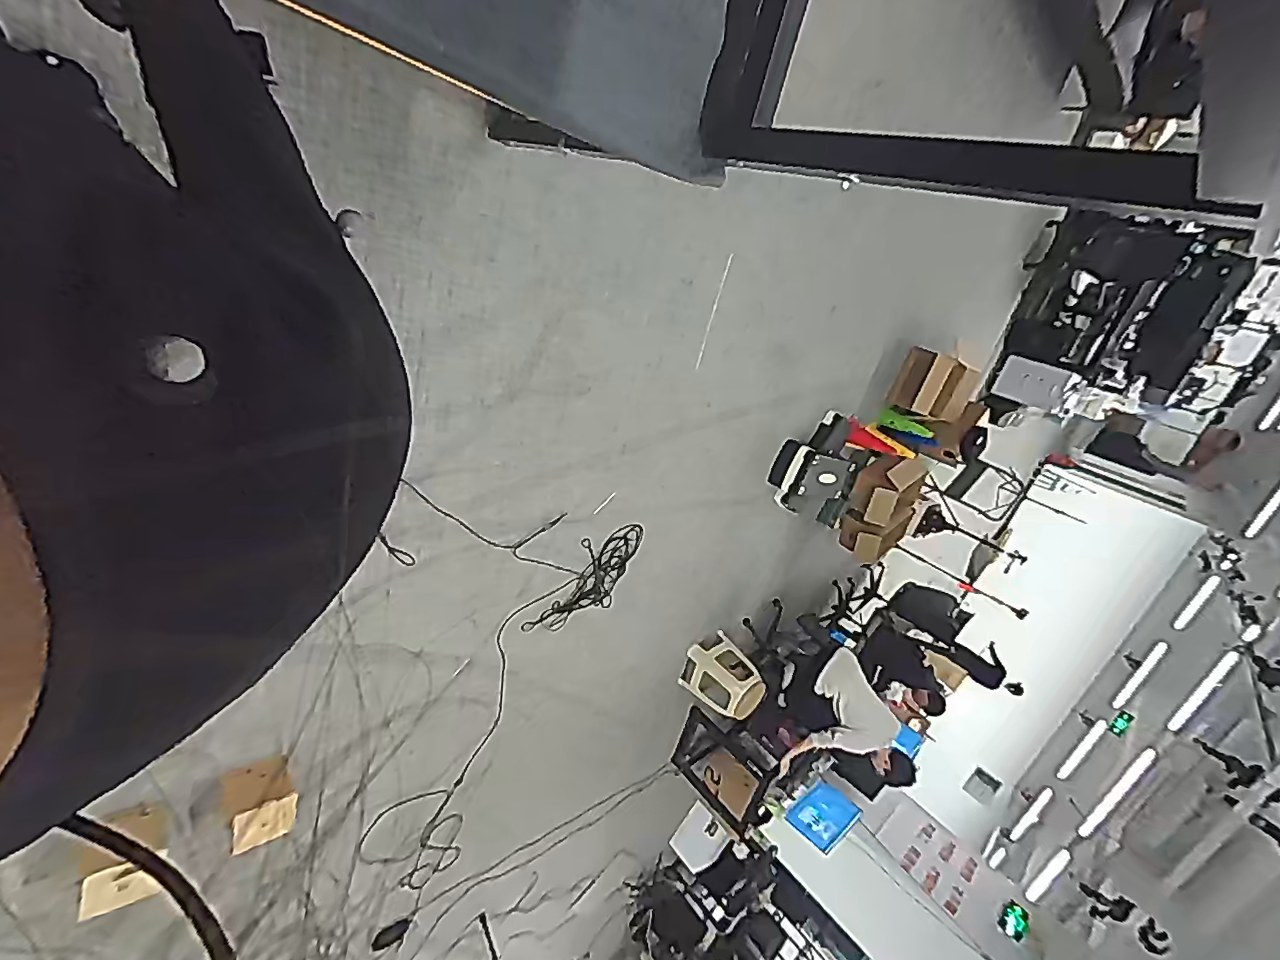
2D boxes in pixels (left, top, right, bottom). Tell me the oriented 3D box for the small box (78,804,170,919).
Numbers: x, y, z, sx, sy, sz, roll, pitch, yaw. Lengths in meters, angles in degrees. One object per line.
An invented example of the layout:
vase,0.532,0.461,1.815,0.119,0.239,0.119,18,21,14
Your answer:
small box,-1.431,1.038,1.496,0.168,0.176,0.179,4,114,-48

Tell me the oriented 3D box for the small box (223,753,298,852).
small box,-1.210,1.017,1.719,0.168,0.176,0.179,-4,119,-46
